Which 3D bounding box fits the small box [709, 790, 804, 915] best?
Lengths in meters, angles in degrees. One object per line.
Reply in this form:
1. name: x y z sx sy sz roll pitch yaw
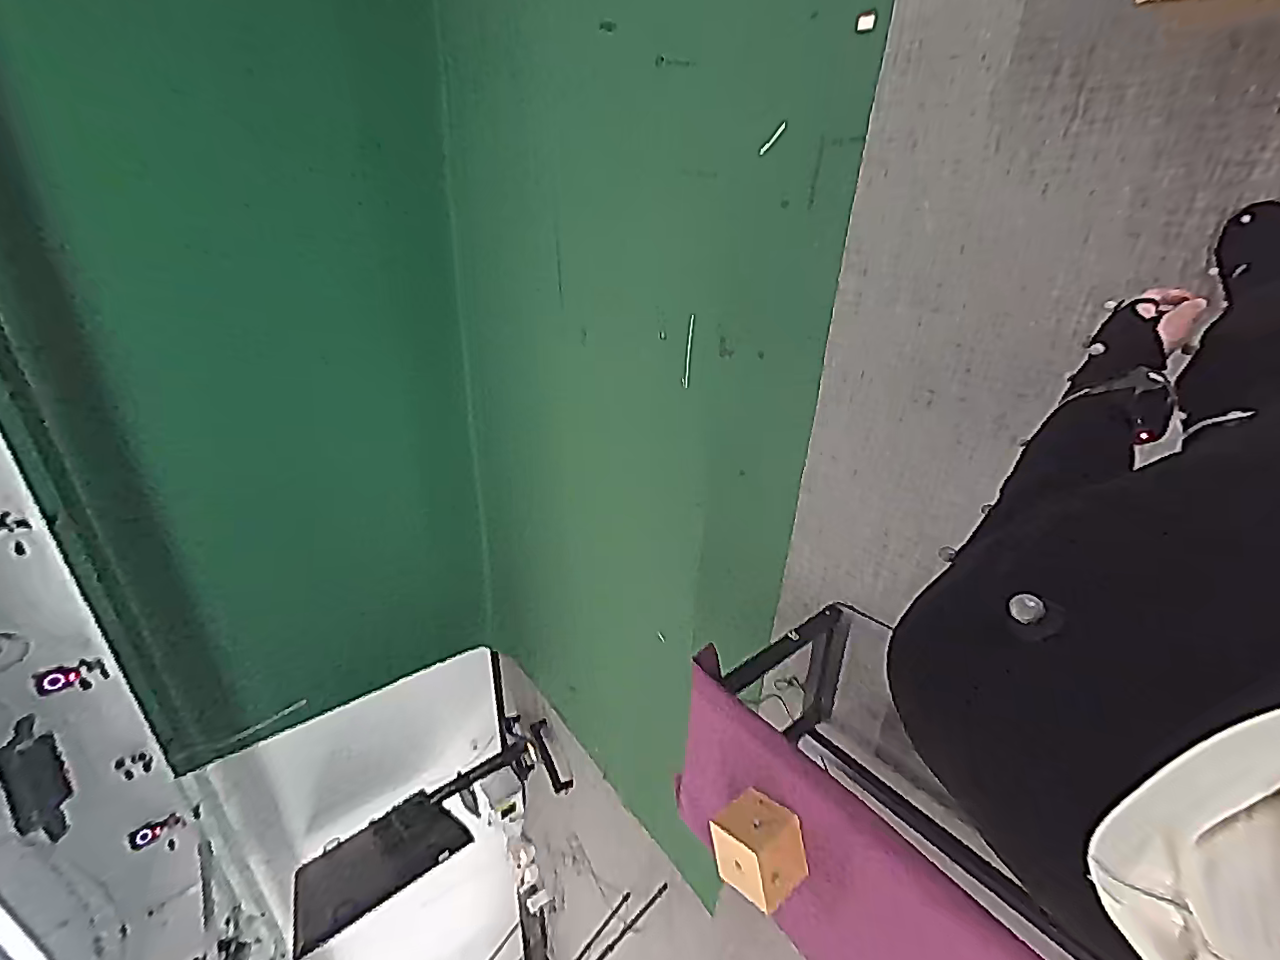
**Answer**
1. small box: 0.309 0.967 1.426 0.168 0.176 0.179 0 105 52
